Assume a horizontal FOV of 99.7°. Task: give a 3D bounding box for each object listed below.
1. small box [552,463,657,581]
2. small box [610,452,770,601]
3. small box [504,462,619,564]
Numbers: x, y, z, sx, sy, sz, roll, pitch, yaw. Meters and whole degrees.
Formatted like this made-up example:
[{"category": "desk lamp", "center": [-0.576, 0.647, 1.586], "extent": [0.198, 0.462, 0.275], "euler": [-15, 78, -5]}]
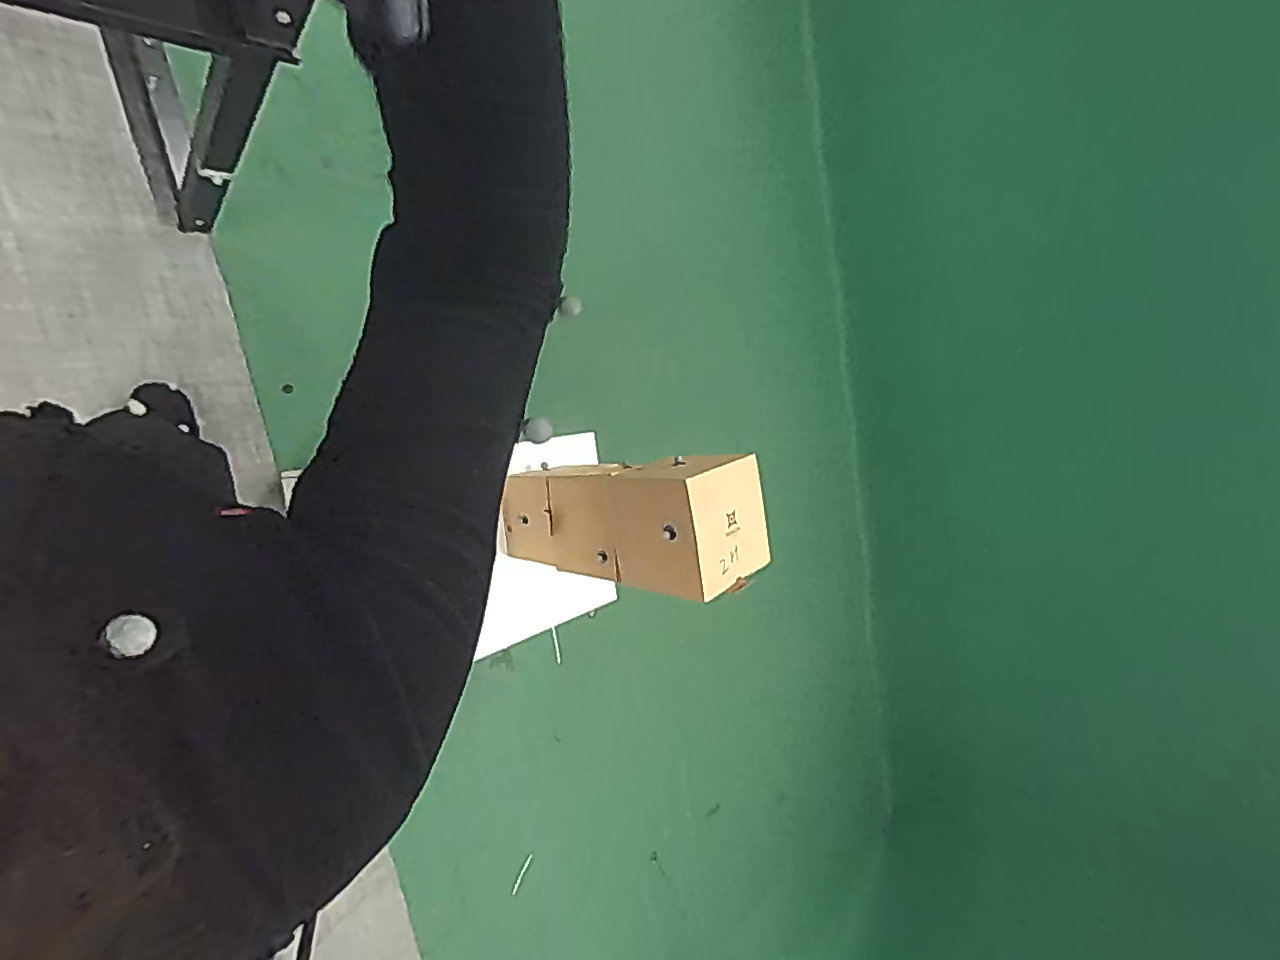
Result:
[{"category": "small box", "center": [-0.038, 0.063, 0.938], "extent": [0.168, 0.176, 0.179], "euler": [-9, 97, -44]}, {"category": "small box", "center": [0.073, 0.060, 0.816], "extent": [0.168, 0.176, 0.179], "euler": [-19, 104, -42]}, {"category": "small box", "center": [-0.151, 0.058, 1.055], "extent": [0.179, 0.176, 0.168], "euler": [-12, 99, -43]}]
